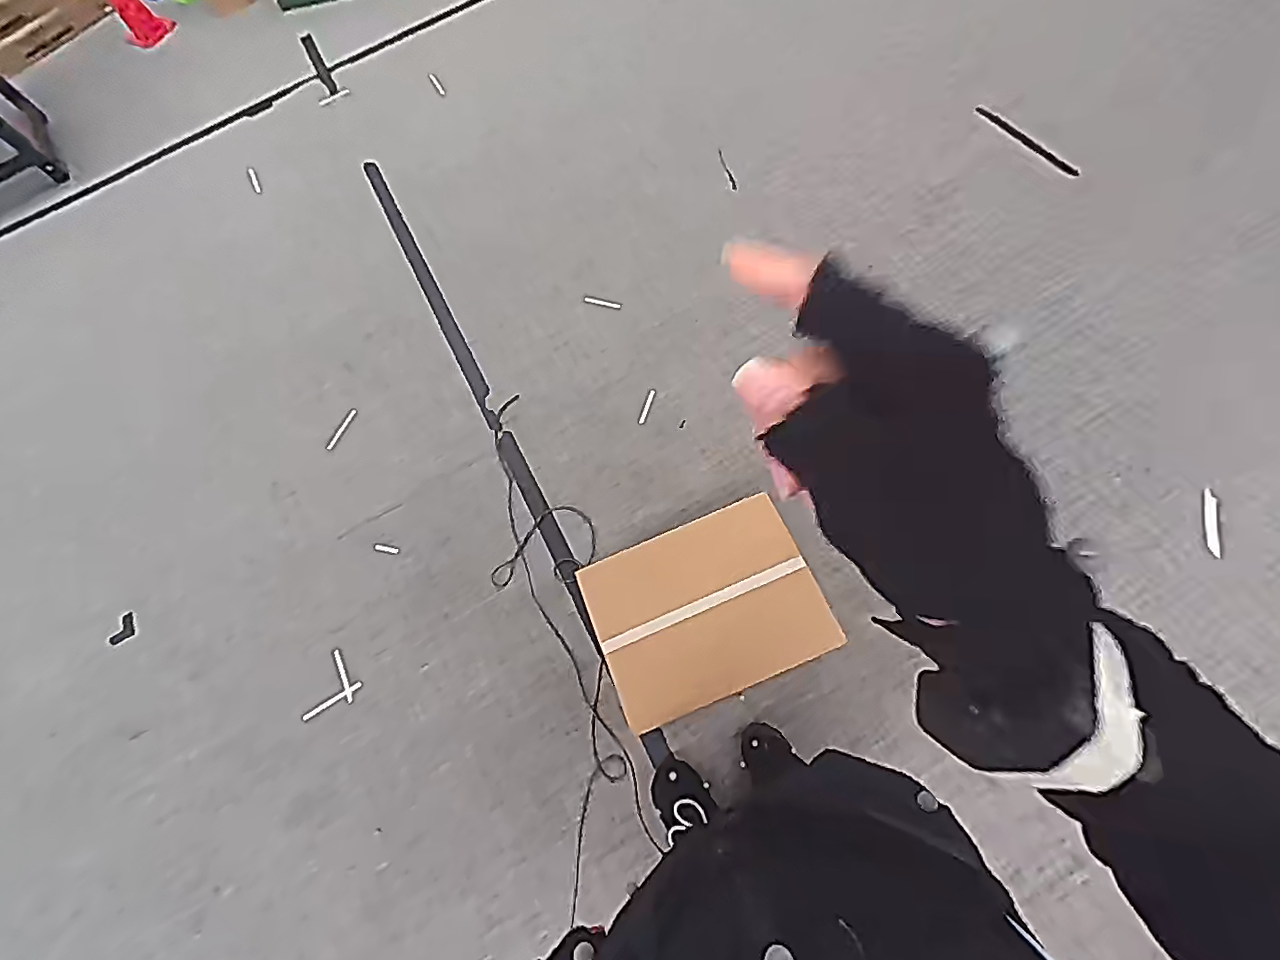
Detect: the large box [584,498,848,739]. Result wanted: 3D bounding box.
[{"bbox_3d":[0.145,0.296,1.123,0.408,0.320,0.320,-23,67,-2],"label":"large box"}]
